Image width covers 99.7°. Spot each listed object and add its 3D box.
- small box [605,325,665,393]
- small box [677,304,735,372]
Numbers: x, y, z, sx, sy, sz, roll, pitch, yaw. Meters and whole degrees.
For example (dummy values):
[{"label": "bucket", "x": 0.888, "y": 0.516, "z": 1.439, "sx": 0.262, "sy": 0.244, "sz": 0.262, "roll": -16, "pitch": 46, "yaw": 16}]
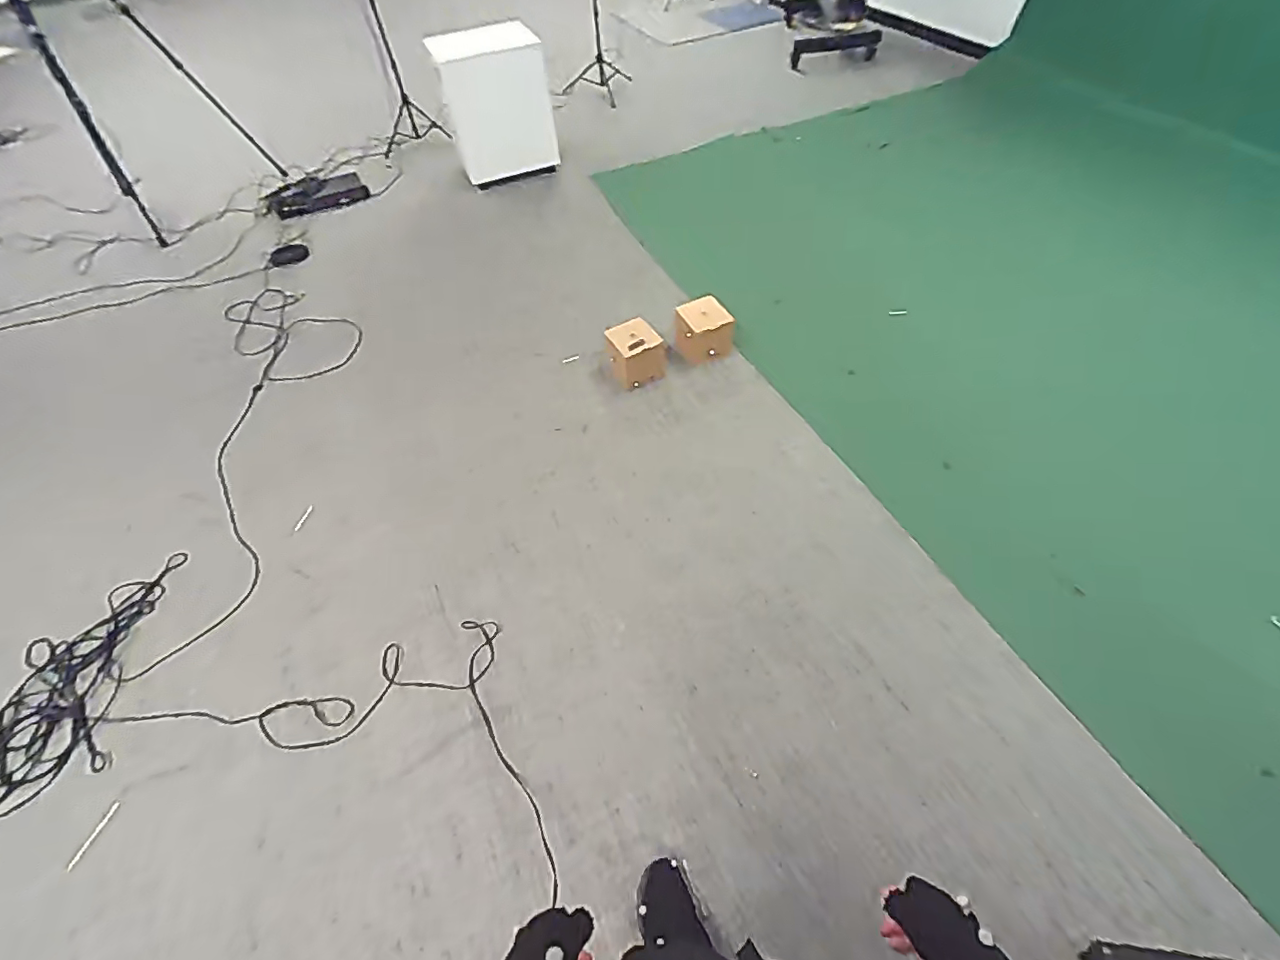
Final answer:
[{"label": "small box", "x": -0.015, "y": -0.452, "z": 2.054, "sx": 0.168, "sy": 0.176, "sz": 0.179, "roll": -26, "pitch": 55, "yaw": -16}, {"label": "small box", "x": 0.251, "y": -0.554, "z": 2.120, "sx": 0.168, "sy": 0.176, "sz": 0.179, "roll": -23, "pitch": 56, "yaw": -13}]
